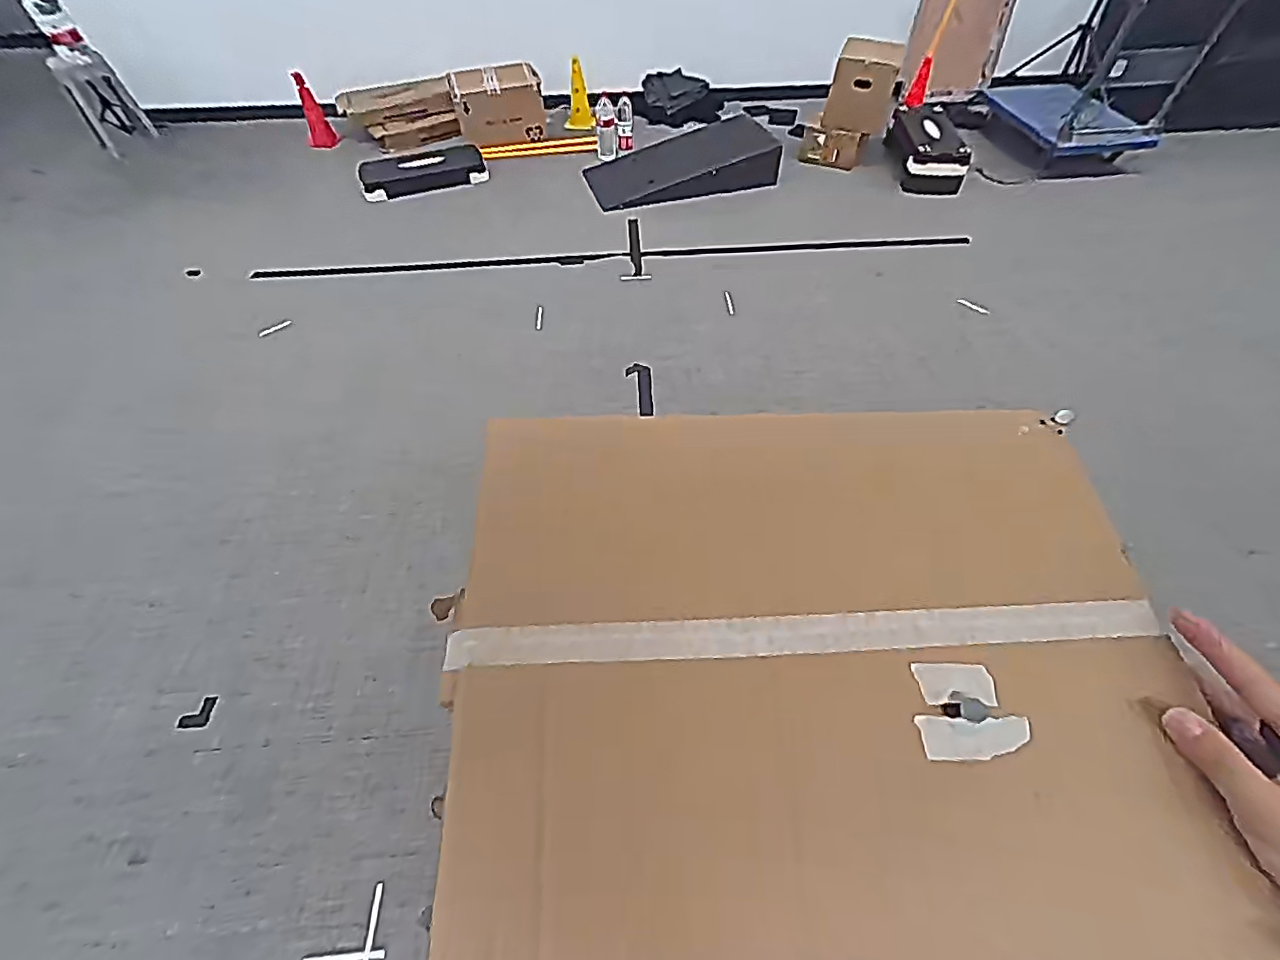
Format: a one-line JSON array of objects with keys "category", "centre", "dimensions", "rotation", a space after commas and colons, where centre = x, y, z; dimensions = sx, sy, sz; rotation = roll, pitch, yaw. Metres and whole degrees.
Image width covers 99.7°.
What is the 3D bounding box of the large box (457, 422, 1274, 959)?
[{"category": "large box", "centre": [0.096, 0.169, 0.451], "dimensions": [0.408, 0.320, 0.320], "rotation": [-2, 61, -4]}]
